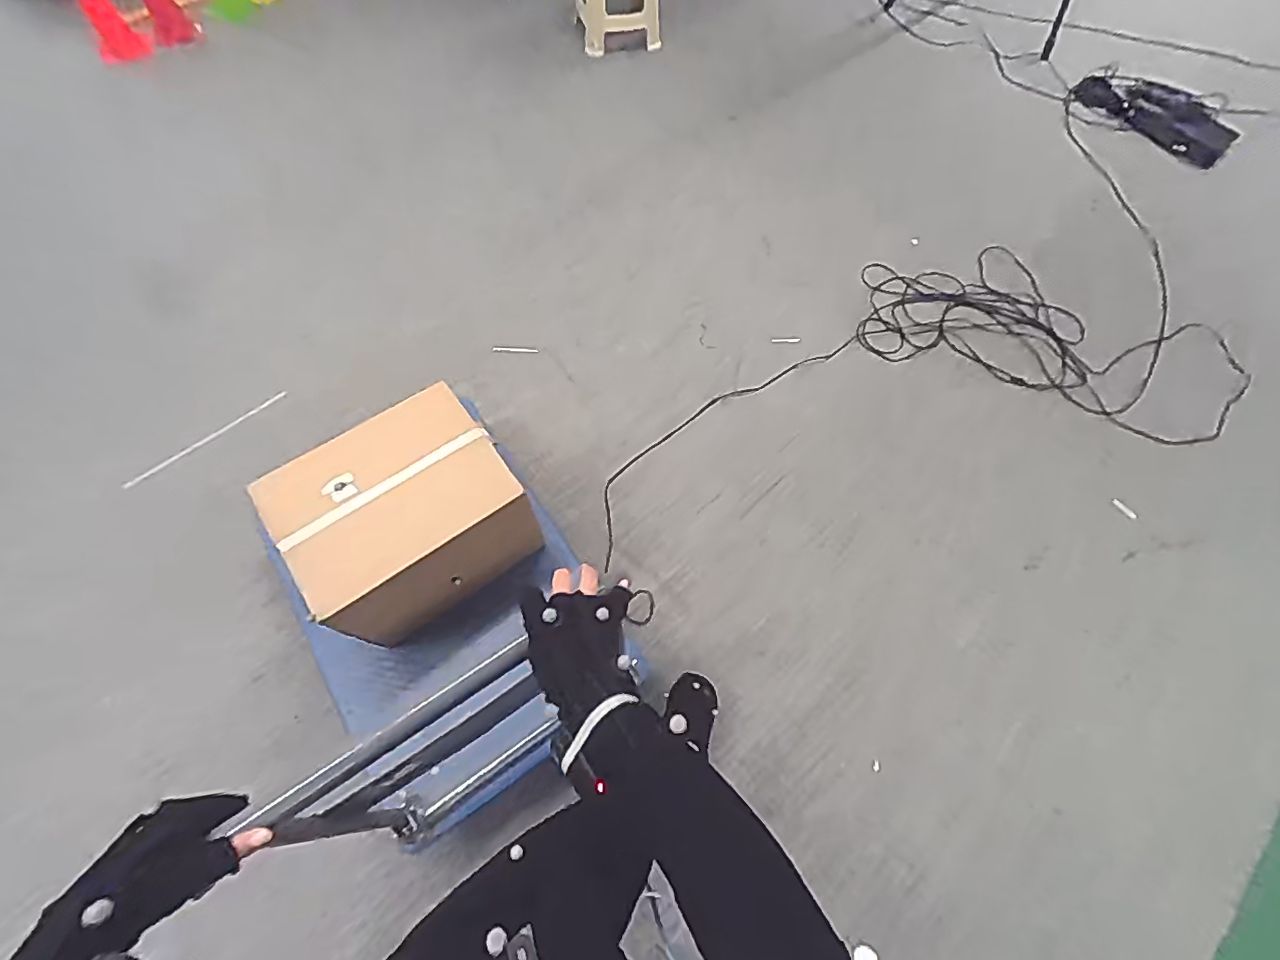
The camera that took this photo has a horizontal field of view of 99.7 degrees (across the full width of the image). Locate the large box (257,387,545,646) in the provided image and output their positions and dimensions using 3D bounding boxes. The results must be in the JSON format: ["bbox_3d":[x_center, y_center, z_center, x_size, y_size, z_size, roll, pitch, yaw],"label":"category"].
[{"bbox_3d":[-0.463,0.086,1.138,0.408,0.320,0.320,-35,70,-16],"label":"large box"}]
